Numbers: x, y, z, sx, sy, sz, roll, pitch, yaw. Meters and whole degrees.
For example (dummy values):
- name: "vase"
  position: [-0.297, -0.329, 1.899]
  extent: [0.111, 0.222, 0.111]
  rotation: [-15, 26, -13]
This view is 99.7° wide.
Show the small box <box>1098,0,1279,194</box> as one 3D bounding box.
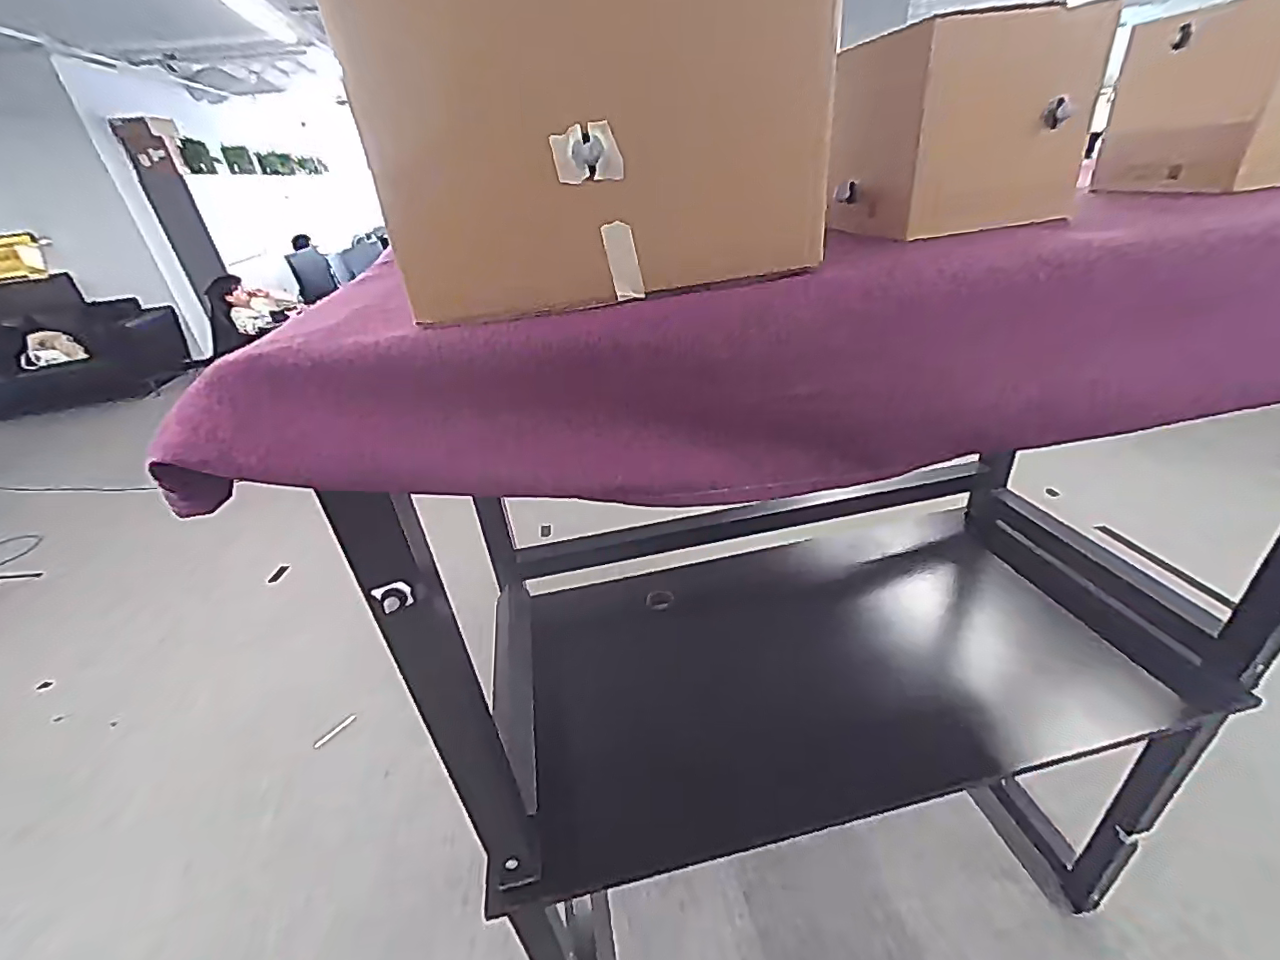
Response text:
- name: "small box"
  position: [0.652, -0.411, 0.576]
  extent: [0.179, 0.176, 0.168]
  rotation: [-10, 29, -5]

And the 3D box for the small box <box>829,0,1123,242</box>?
- name: "small box"
  position: [0.304, -0.344, 0.538]
  extent: [0.179, 0.176, 0.168]
  rotation: [-11, 30, -7]
